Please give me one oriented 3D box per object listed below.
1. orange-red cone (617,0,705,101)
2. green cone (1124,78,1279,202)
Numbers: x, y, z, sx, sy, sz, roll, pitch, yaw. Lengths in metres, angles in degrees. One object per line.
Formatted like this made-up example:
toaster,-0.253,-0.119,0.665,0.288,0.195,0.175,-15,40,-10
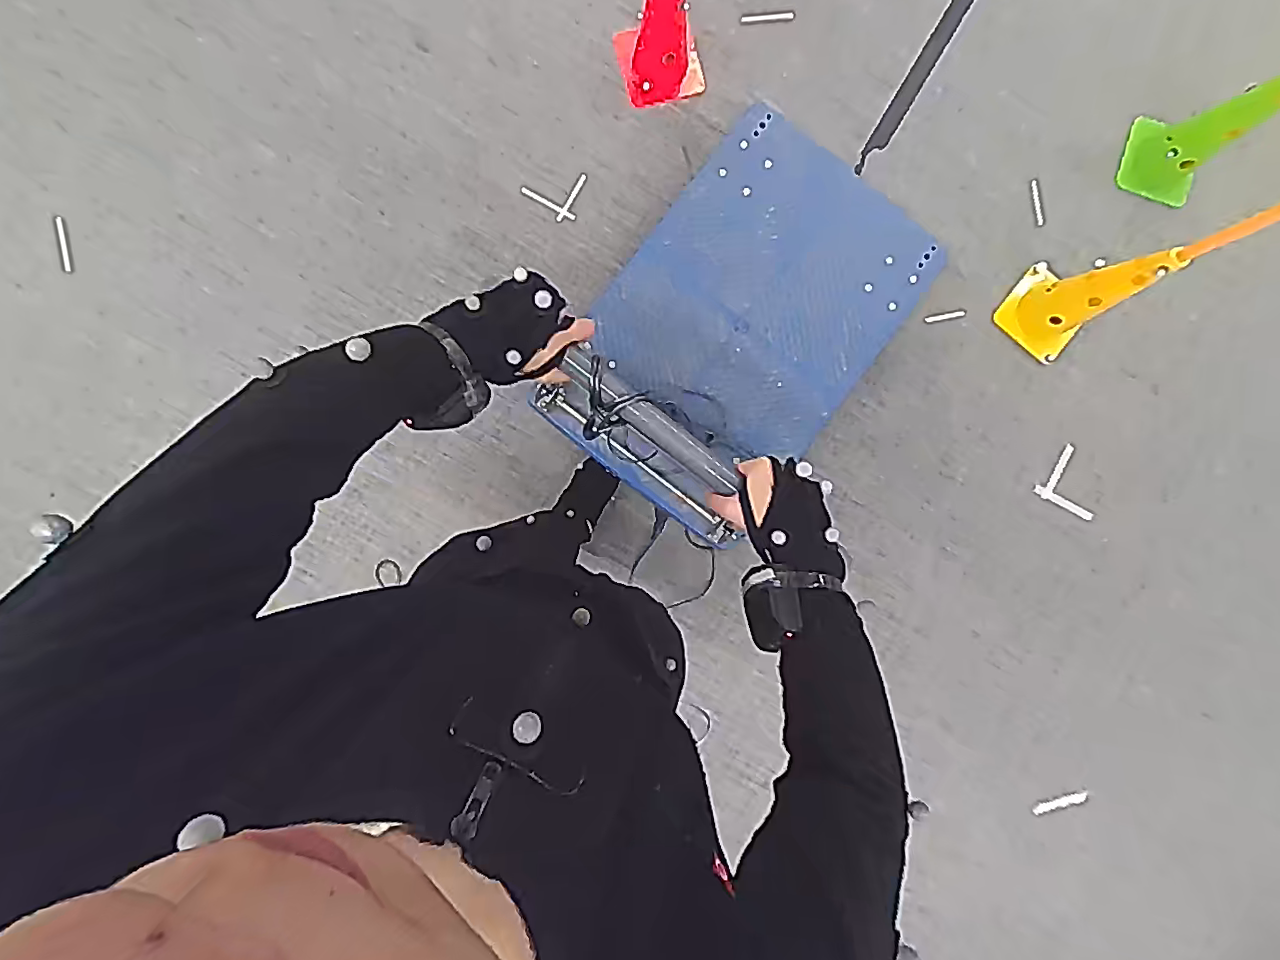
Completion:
orange-red cone,0.064,-1.069,1.197,0.199,0.360,0.198,-14,91,-4
green cone,1.393,-0.846,1.249,0.200,0.368,0.202,17,90,-2
